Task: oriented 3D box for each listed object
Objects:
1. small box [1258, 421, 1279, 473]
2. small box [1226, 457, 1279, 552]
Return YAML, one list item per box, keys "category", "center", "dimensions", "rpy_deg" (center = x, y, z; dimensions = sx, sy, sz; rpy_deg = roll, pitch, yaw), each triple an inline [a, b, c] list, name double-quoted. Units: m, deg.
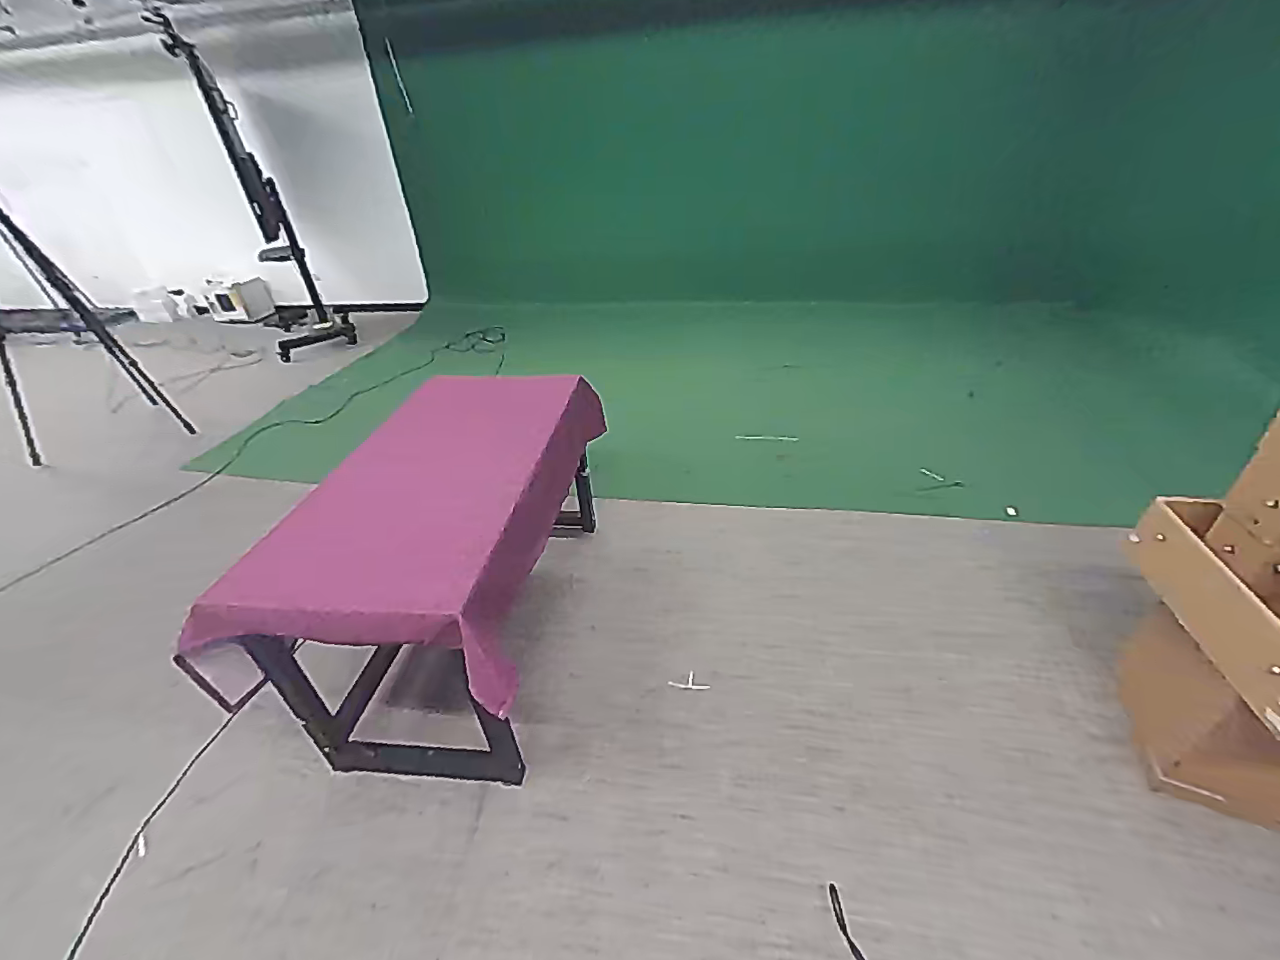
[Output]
- category: "small box"
  center: [1.517, -0.075, 1.161]
  dimensions: [0.168, 0.176, 0.179]
  rpy_deg: [5, 36, 14]
- category: "small box"
  center: [1.532, 0.063, 1.250]
  dimensions: [0.179, 0.176, 0.168]
  rpy_deg: [5, 35, 11]
